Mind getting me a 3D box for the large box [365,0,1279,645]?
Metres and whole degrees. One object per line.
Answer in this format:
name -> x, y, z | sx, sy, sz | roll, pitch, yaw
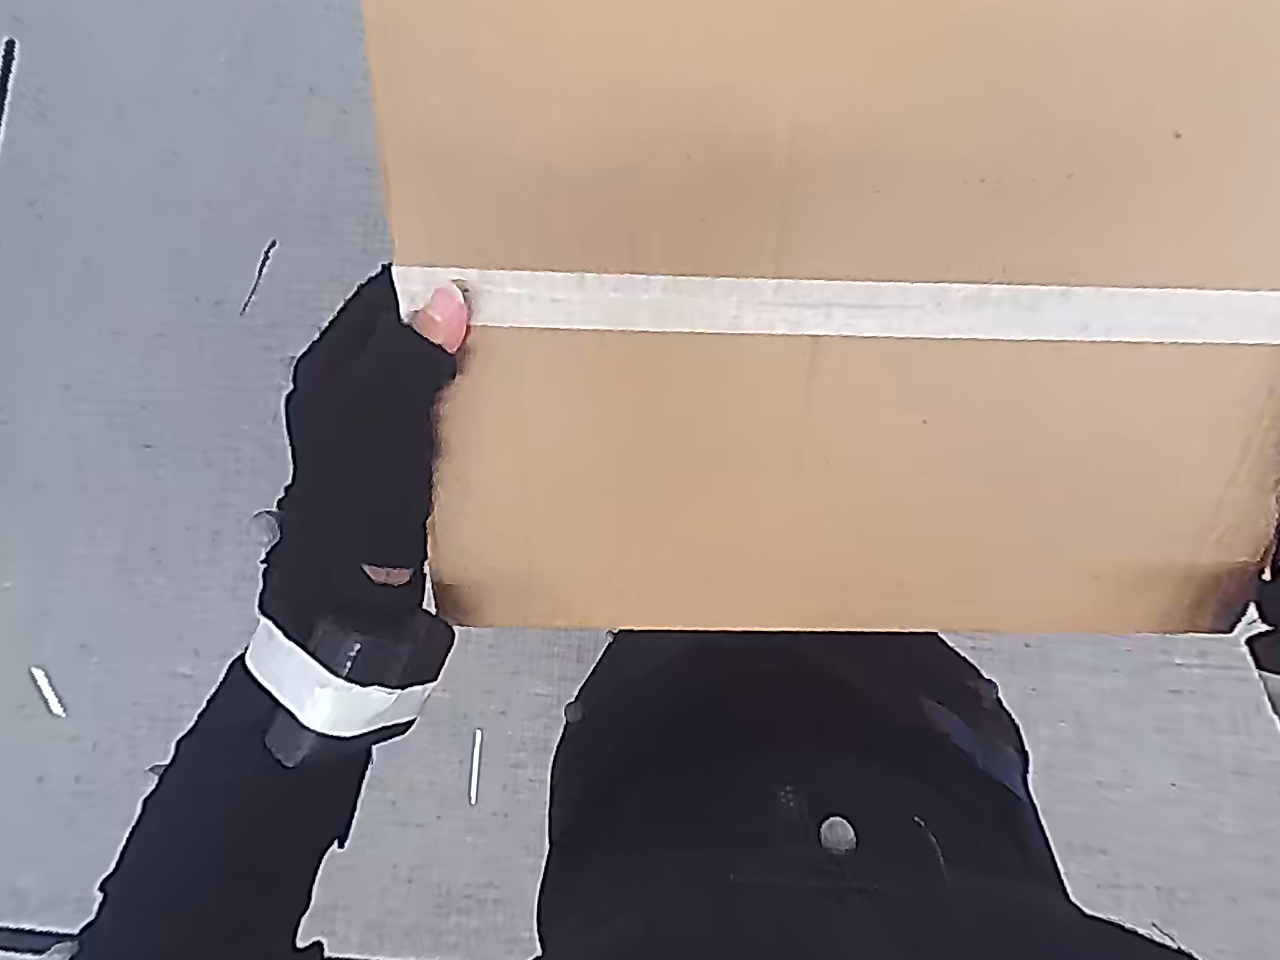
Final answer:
large box -> 0.100, -0.111, 0.371 | 0.408, 0.320, 0.320 | 0, 110, -2
